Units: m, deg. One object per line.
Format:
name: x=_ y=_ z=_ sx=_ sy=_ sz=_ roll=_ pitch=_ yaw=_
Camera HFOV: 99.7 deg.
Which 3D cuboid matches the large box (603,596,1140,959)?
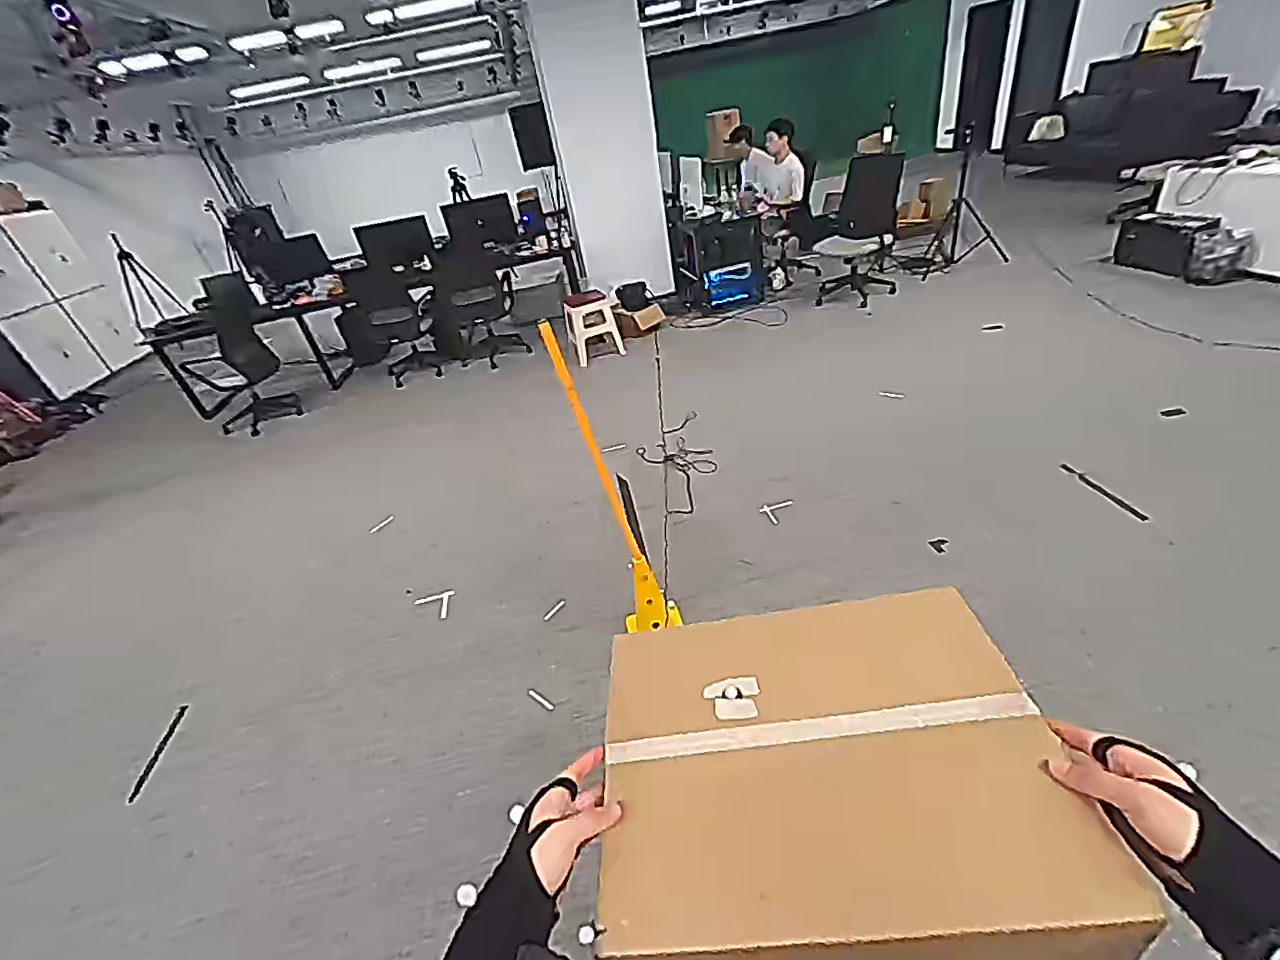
large box: x=0.198 y=0.378 z=0.607 sx=0.408 sy=0.320 sz=0.320 roll=-12 pitch=32 yaw=7
